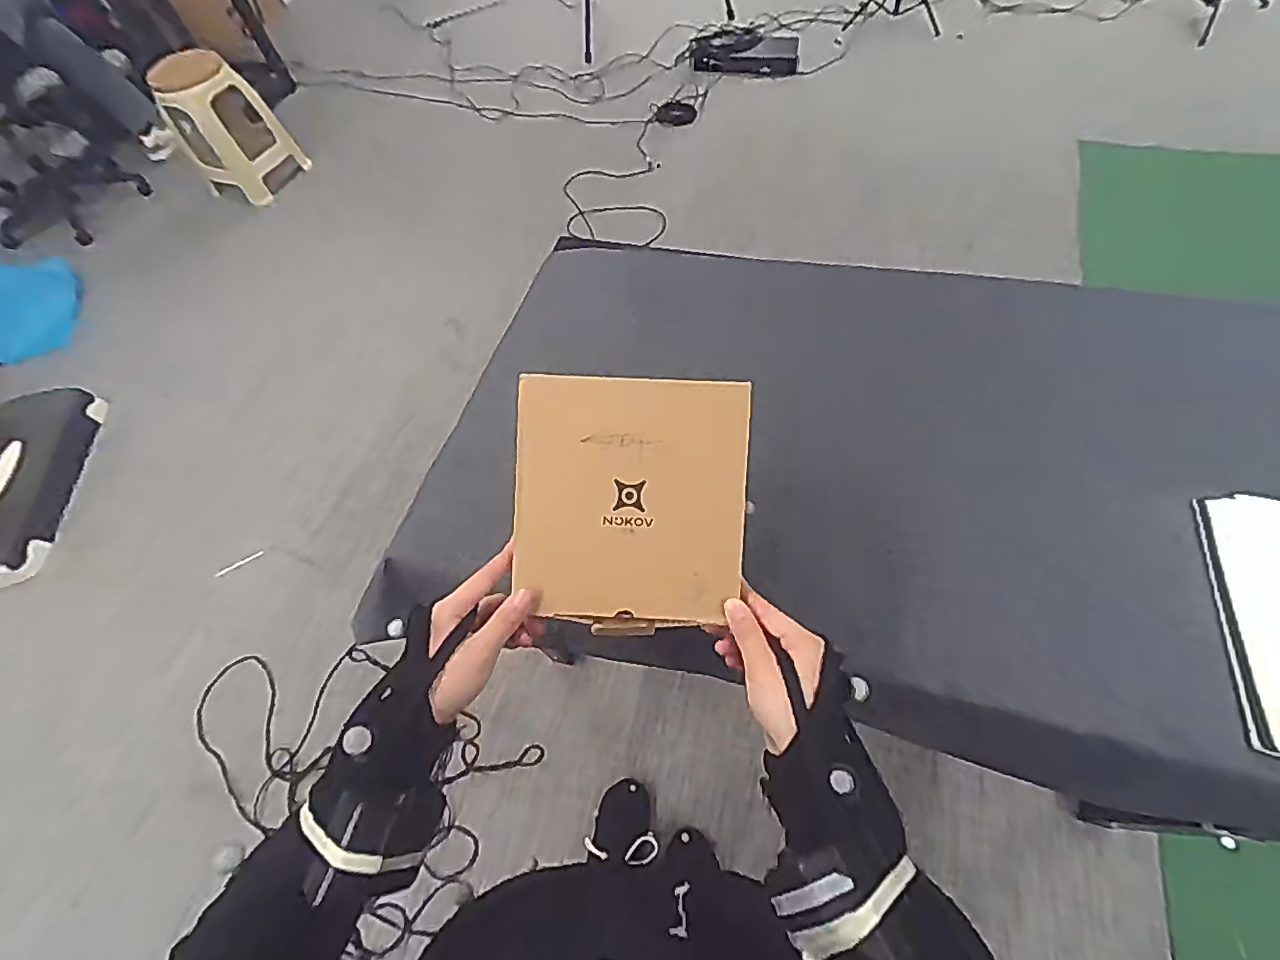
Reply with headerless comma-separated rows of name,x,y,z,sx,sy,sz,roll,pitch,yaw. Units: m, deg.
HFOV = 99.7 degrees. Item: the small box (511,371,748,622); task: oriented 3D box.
small box,-0.007,0.010,0.465,0.168,0.176,0.179,2,91,1
